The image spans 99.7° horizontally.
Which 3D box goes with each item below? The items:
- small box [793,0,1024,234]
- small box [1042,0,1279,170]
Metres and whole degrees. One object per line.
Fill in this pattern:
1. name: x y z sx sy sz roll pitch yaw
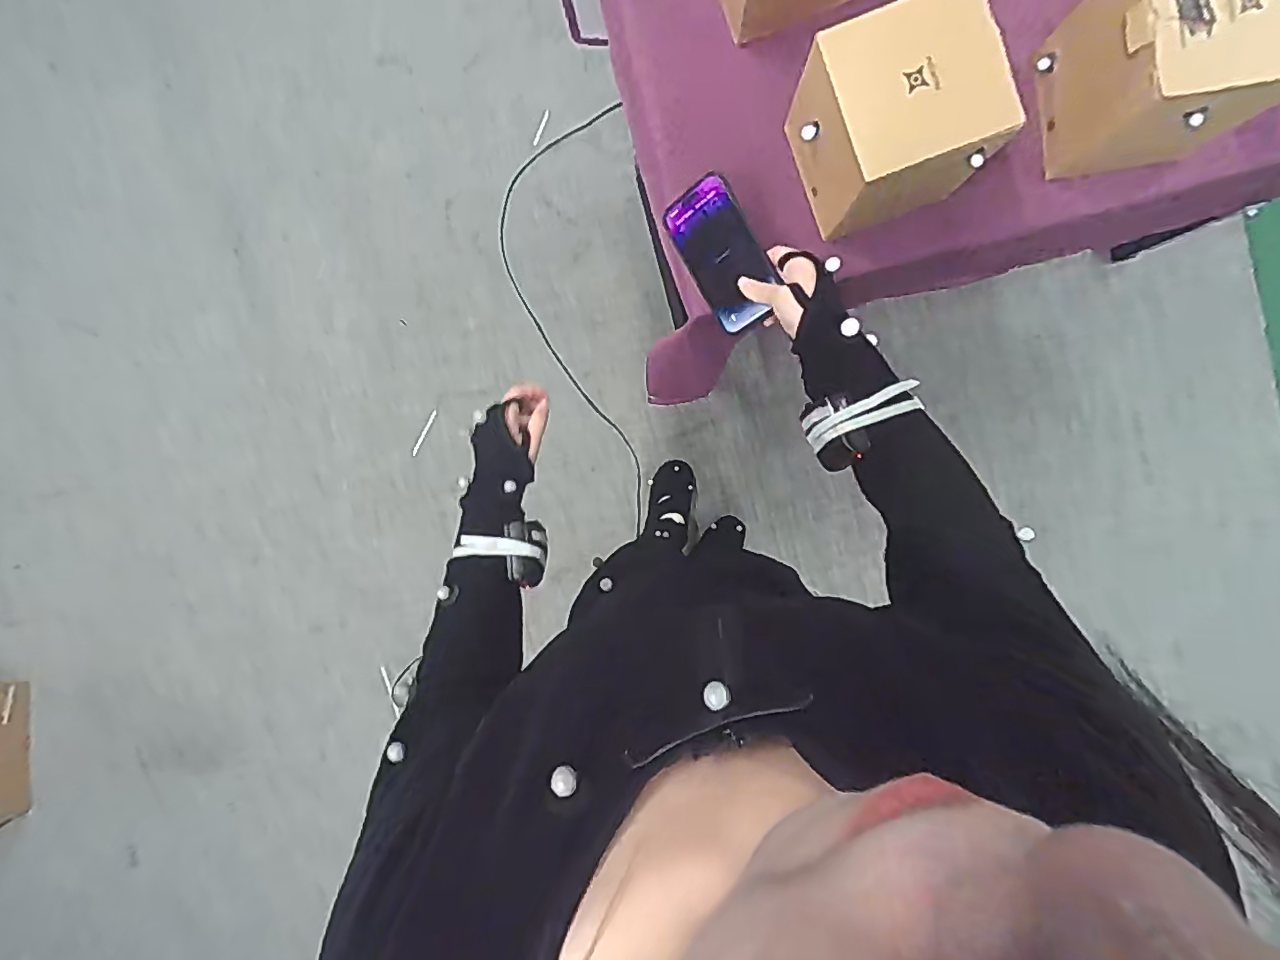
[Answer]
1. small box: 0.297 -0.426 0.645 0.179 0.176 0.168 -20 92 3
2. small box: 0.603 -0.488 0.624 0.179 0.176 0.168 -8 93 3
